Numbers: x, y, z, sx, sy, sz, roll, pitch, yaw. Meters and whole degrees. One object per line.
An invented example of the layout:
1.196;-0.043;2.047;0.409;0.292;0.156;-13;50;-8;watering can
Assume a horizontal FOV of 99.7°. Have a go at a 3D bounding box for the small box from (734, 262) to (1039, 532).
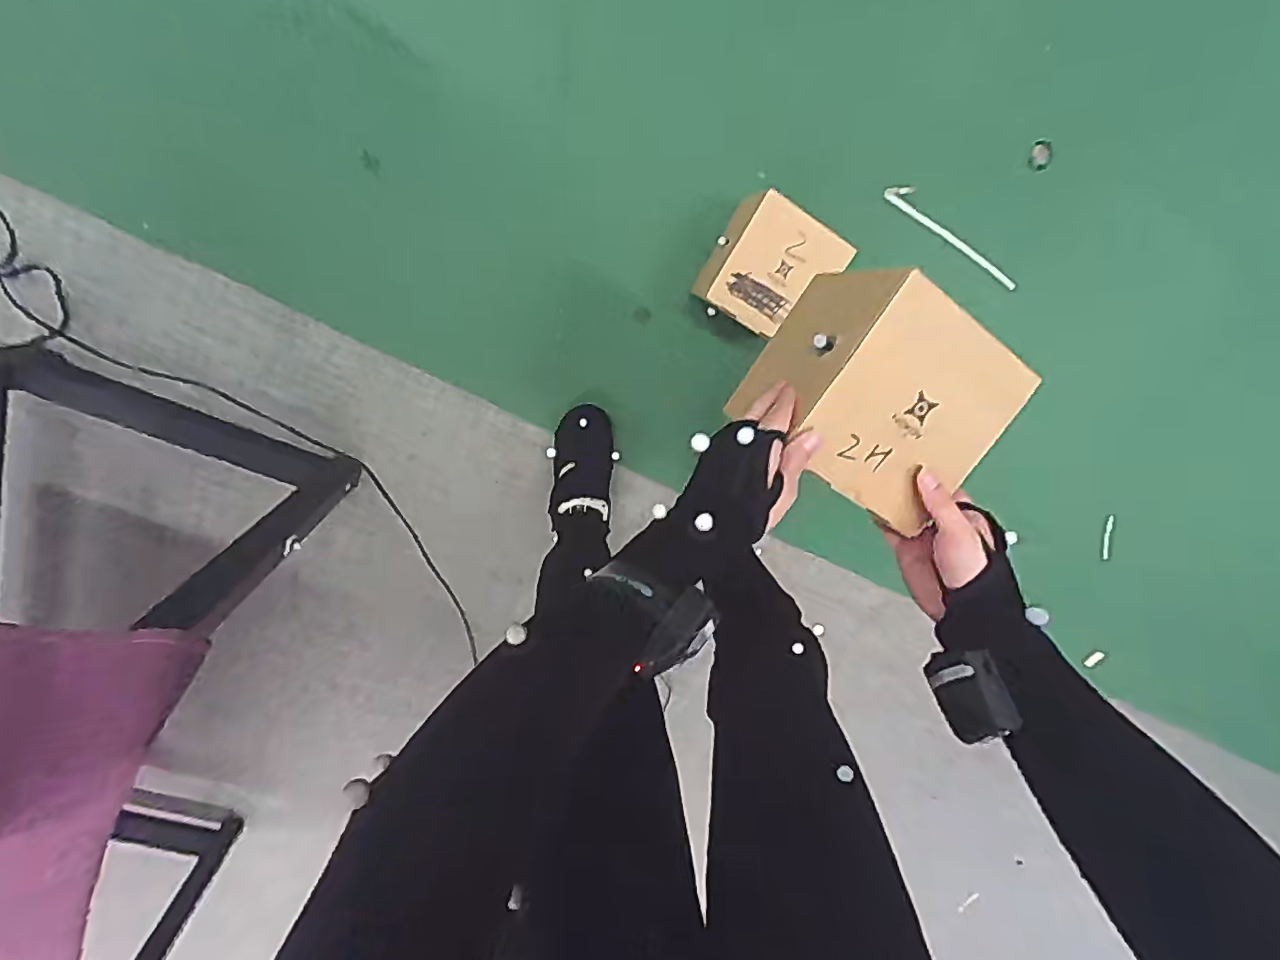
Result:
0.218;-0.087;0.529;0.168;0.176;0.179;31;103;-17;small box
